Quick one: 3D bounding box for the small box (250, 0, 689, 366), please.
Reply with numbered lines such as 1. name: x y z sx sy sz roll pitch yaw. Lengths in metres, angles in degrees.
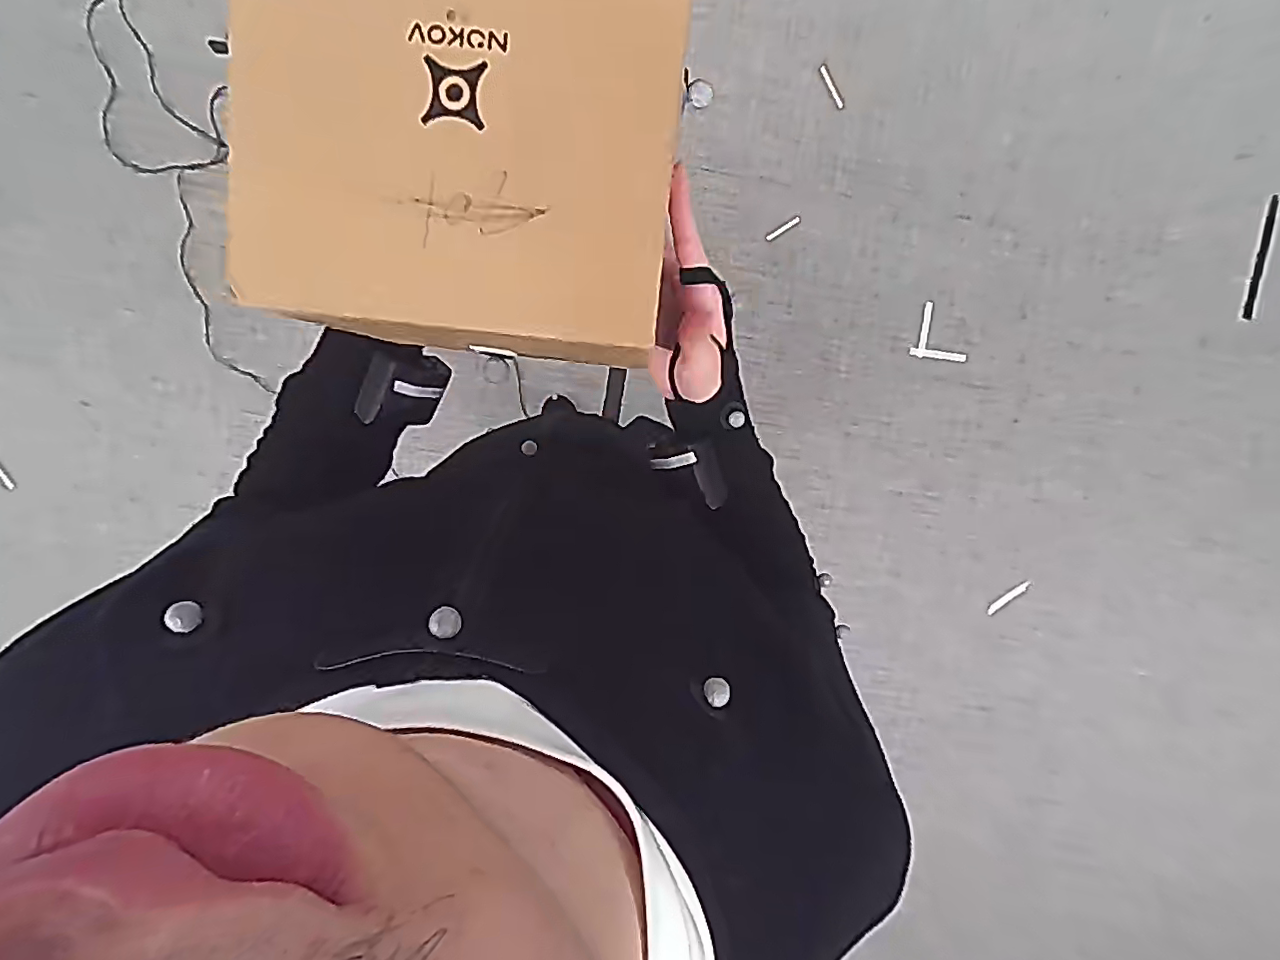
1. small box: -0.068 -0.161 0.289 0.168 0.176 0.179 6 100 0
